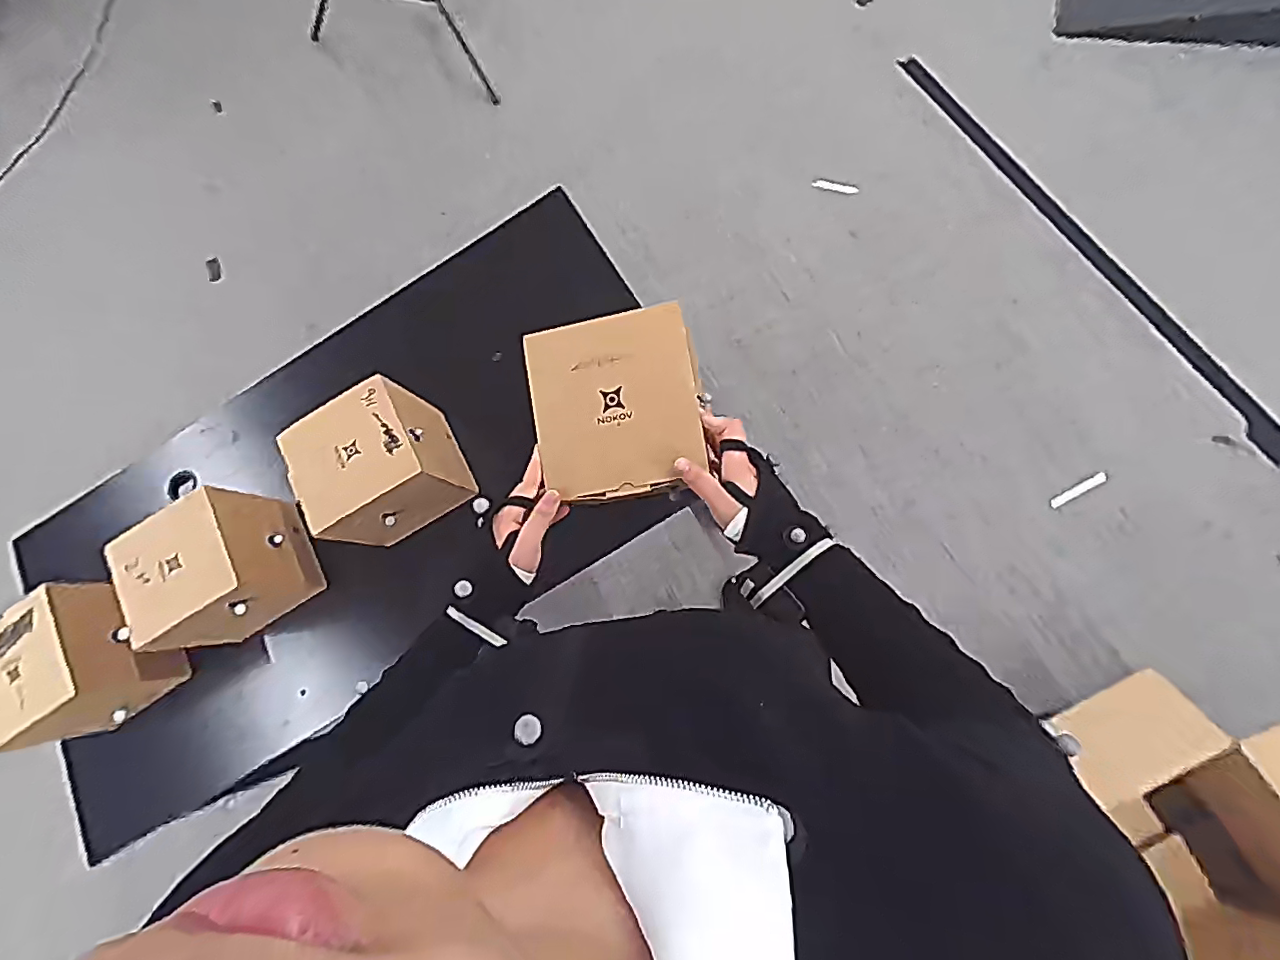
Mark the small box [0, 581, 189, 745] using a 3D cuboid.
[{"bbox_3d":[-0.862,0.275,0.837,0.168,0.176,0.179,-34,76,2],"label":"small box"}]

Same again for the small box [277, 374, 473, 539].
[{"bbox_3d":[-0.389,-0.023,0.815,0.179,0.176,0.168,-30,76,3],"label":"small box"}]

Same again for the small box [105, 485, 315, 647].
[{"bbox_3d":[-0.637,0.132,0.826,0.179,0.176,0.168,-32,75,2],"label":"small box"}]

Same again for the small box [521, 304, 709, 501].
[{"bbox_3d":[-0.017,-0.074,0.615,0.168,0.176,0.179,-9,86,9],"label":"small box"}]
